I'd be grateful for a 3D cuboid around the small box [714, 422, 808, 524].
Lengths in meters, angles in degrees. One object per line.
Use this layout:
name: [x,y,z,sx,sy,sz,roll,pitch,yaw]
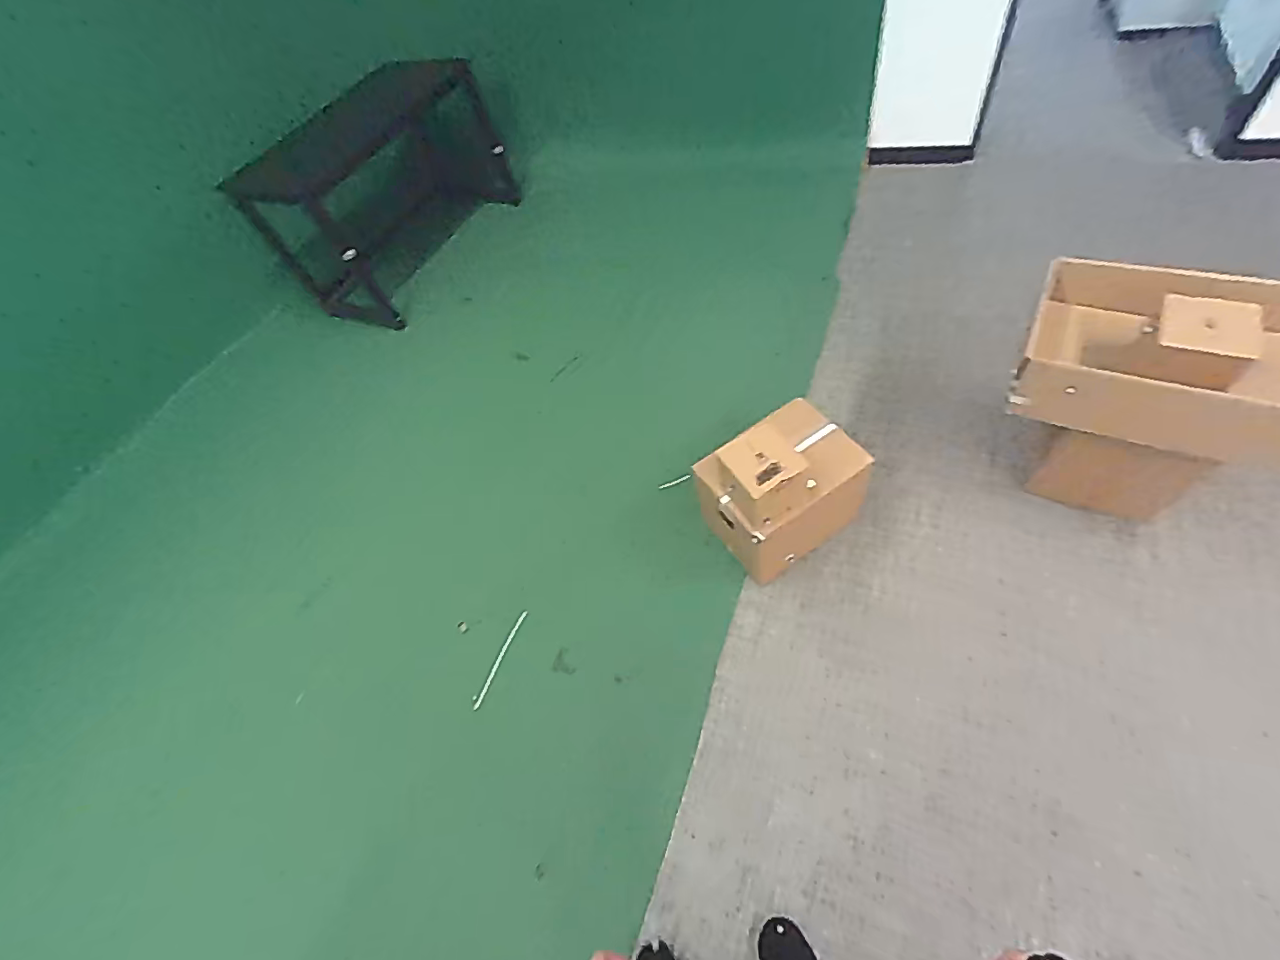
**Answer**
small box: [0.312,-0.009,1.402,0.168,0.176,0.179,-30,55,-8]
